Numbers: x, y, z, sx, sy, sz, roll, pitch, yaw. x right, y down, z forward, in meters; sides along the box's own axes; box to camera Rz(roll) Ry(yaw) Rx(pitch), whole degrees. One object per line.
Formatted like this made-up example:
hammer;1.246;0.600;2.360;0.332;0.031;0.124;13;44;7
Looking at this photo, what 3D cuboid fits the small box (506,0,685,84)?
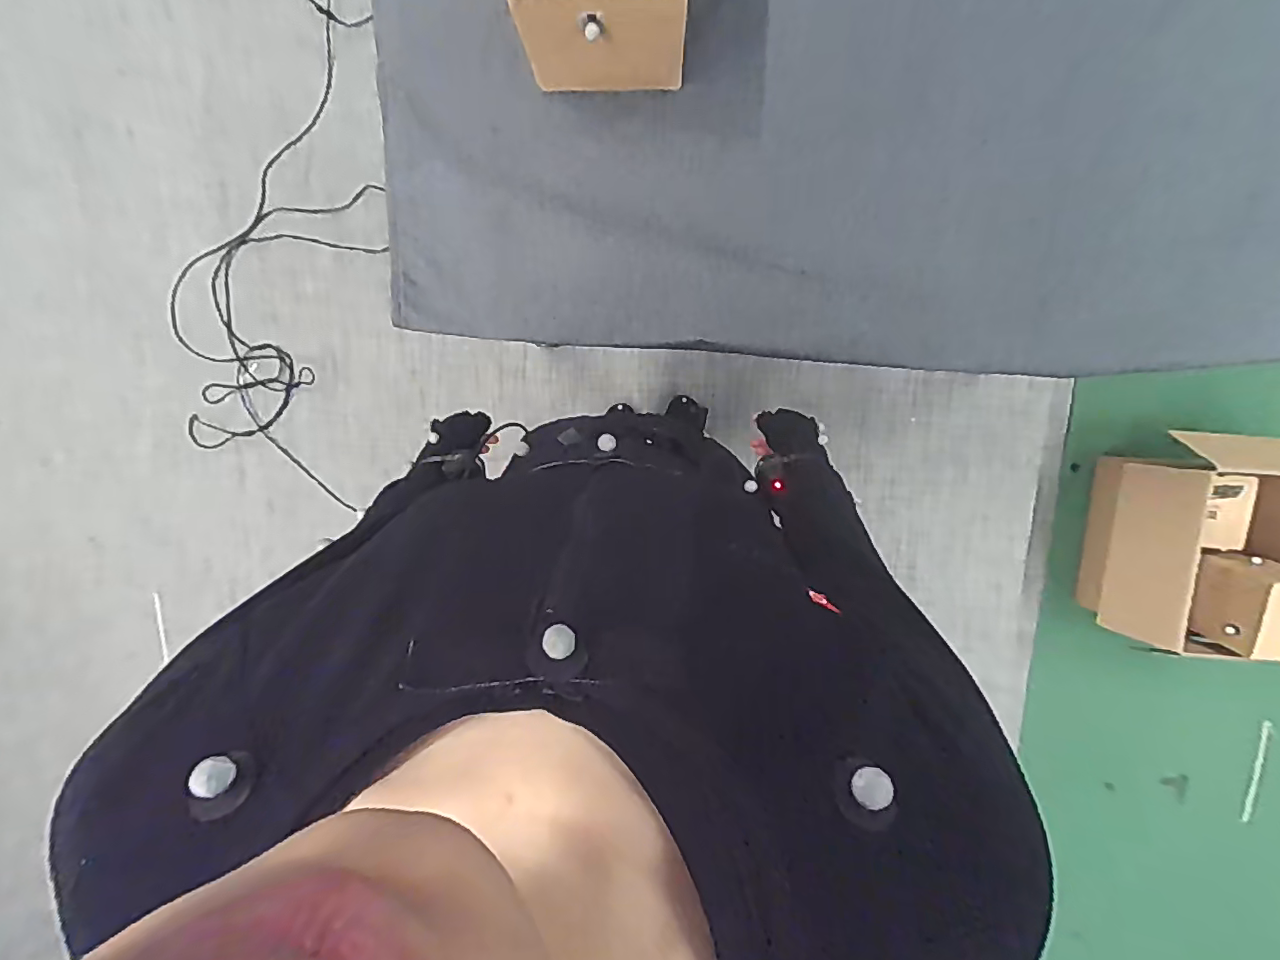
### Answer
small box;-0.039;-0.550;0.567;0.179;0.176;0.168;2;99;3
